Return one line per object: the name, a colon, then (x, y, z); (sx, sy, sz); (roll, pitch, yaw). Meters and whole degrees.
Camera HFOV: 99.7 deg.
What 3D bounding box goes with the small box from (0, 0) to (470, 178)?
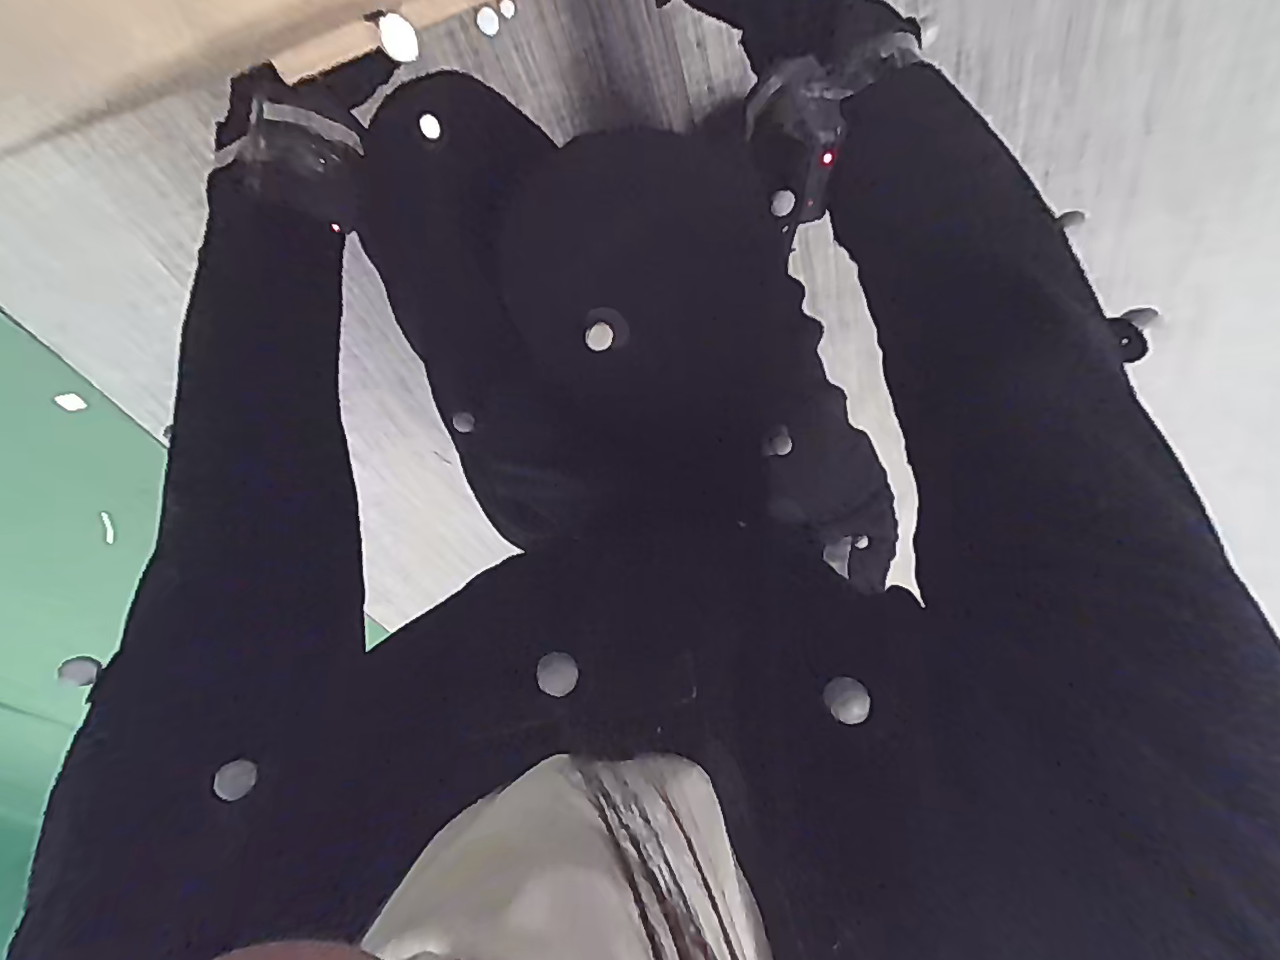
small box: (-0.136, -0.205, 0.134); (0.179, 0.176, 0.168); (-7, 135, 15)
